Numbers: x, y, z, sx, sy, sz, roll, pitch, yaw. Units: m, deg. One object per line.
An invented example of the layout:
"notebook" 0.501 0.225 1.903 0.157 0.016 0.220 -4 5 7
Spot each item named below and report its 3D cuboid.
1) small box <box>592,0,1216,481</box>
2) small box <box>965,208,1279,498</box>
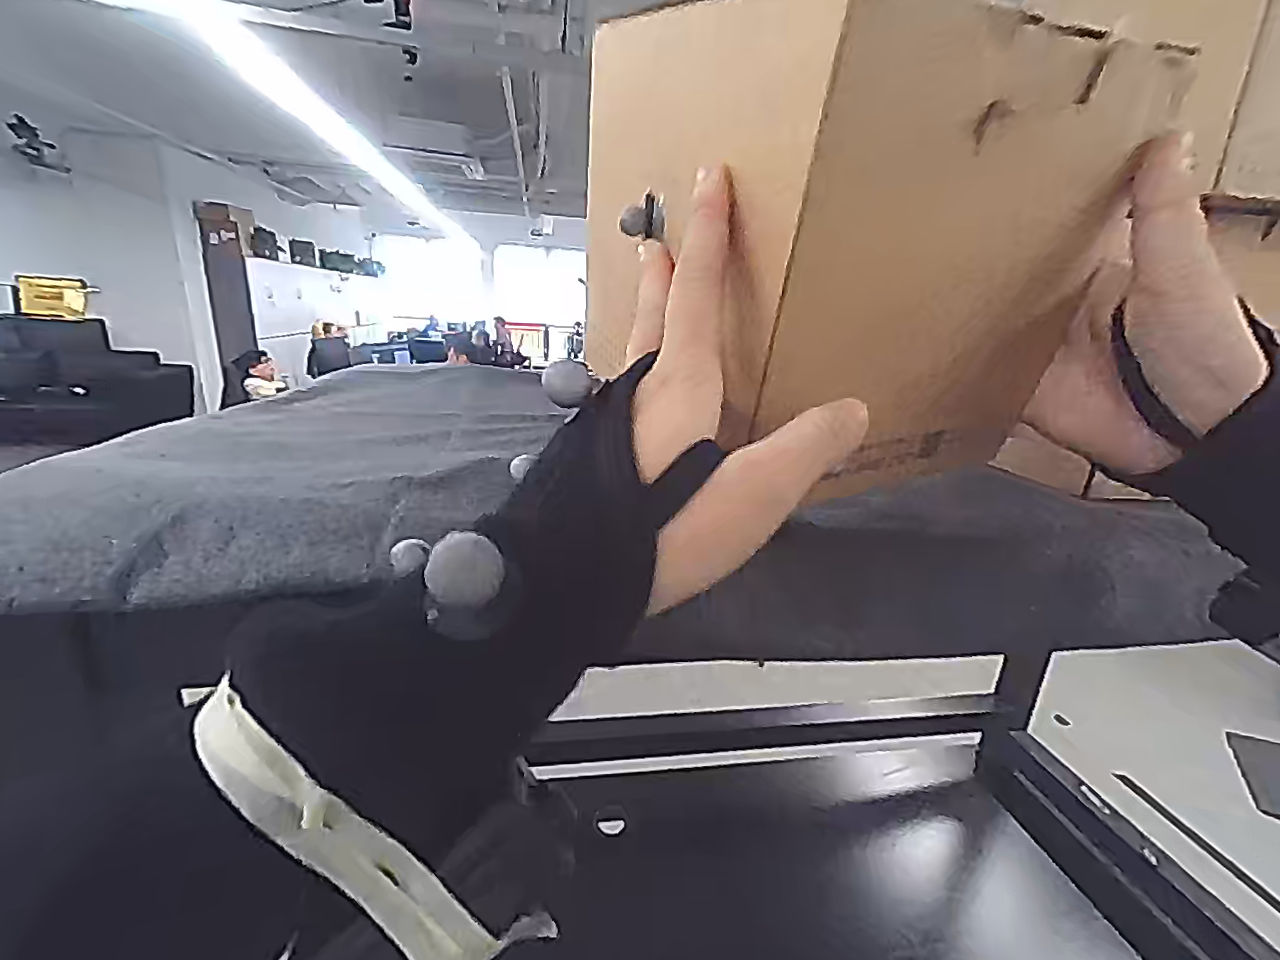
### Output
"small box" 0.083 -0.112 0.260 0.168 0.176 0.179 -11 37 -24
"small box" 0.346 -0.090 0.400 0.168 0.176 0.179 2 17 -7
